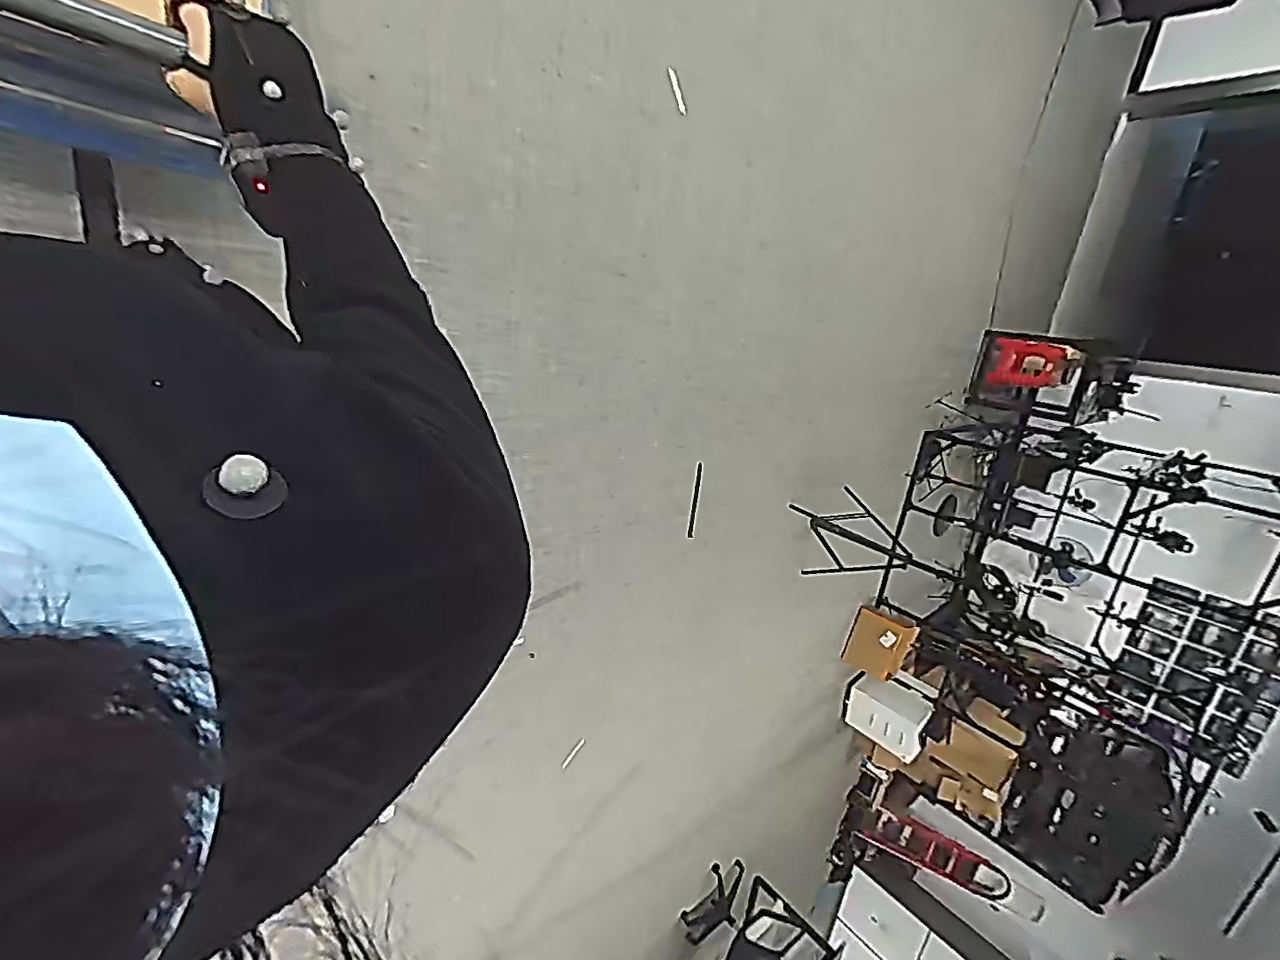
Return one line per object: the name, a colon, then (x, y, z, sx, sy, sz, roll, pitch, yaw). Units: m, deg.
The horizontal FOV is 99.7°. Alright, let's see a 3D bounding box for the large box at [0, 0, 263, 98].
large box: (-0.755, -0.740, 0.671, 0.408, 0.320, 0.320, -11, 115, -43)
